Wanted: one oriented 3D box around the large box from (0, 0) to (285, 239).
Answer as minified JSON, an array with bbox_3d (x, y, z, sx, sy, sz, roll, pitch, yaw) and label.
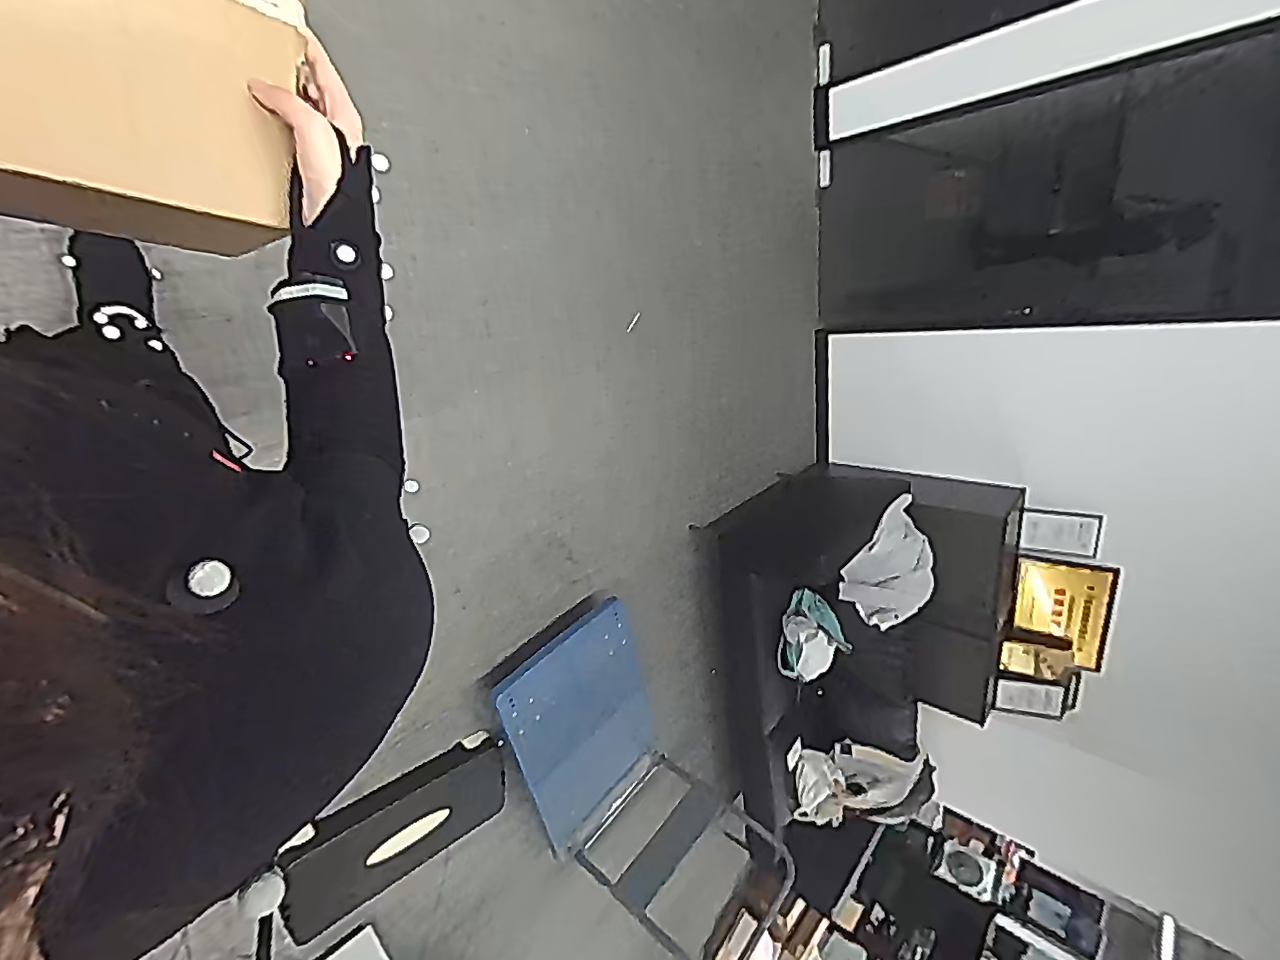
[{"bbox_3d":[-0.525,-0.383,0.388,0.408,0.320,0.320,-6,107,-43],"label":"large box"}]
